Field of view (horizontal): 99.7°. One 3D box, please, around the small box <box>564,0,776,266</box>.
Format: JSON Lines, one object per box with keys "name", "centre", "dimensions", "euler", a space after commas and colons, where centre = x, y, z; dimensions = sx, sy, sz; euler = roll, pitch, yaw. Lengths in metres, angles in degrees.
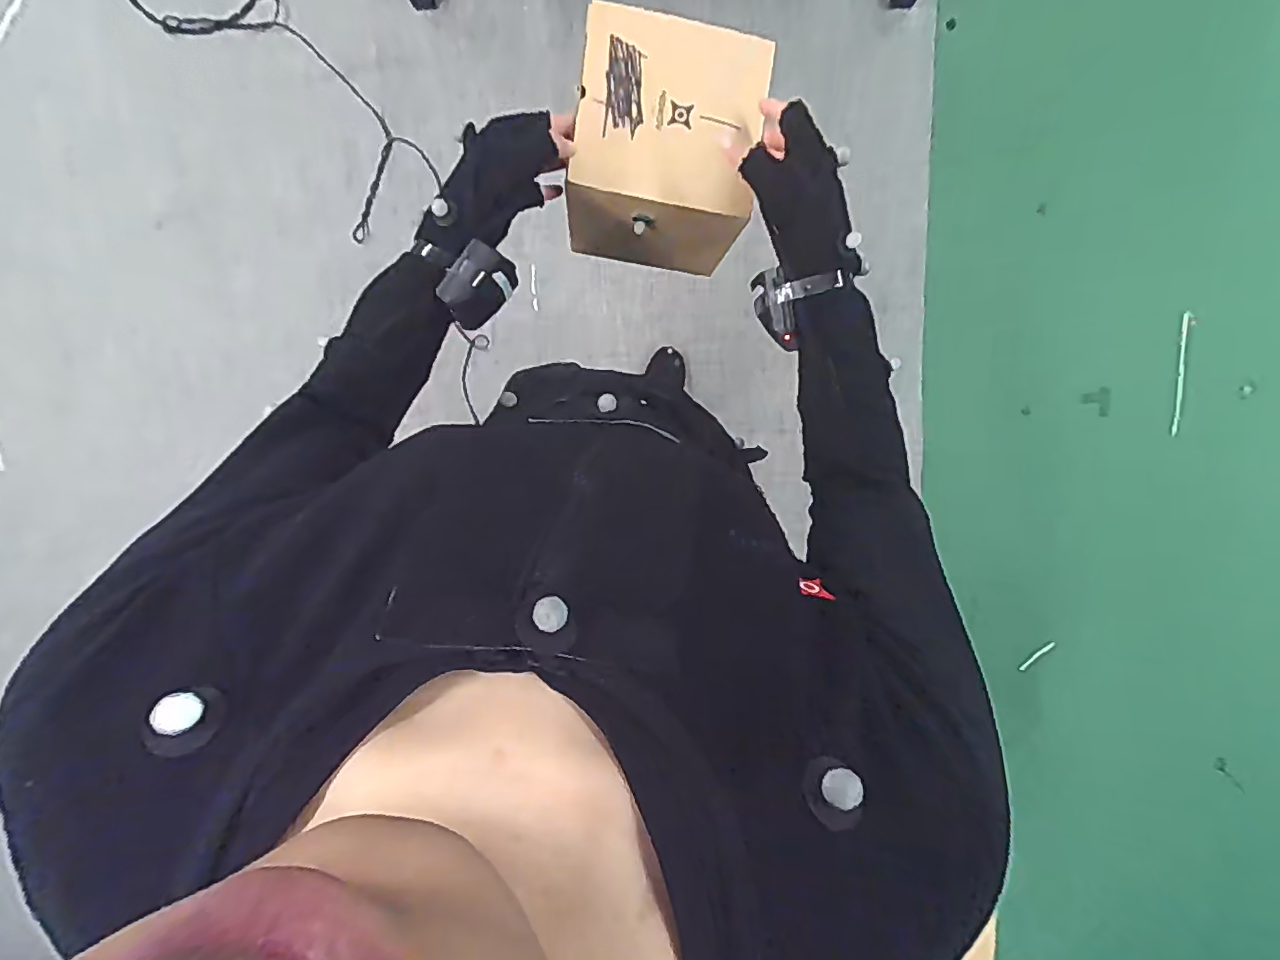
{"name": "small box", "centre": [0.021, -0.345, 0.570], "dimensions": [0.179, 0.176, 0.168], "euler": [8, 92, -7]}
